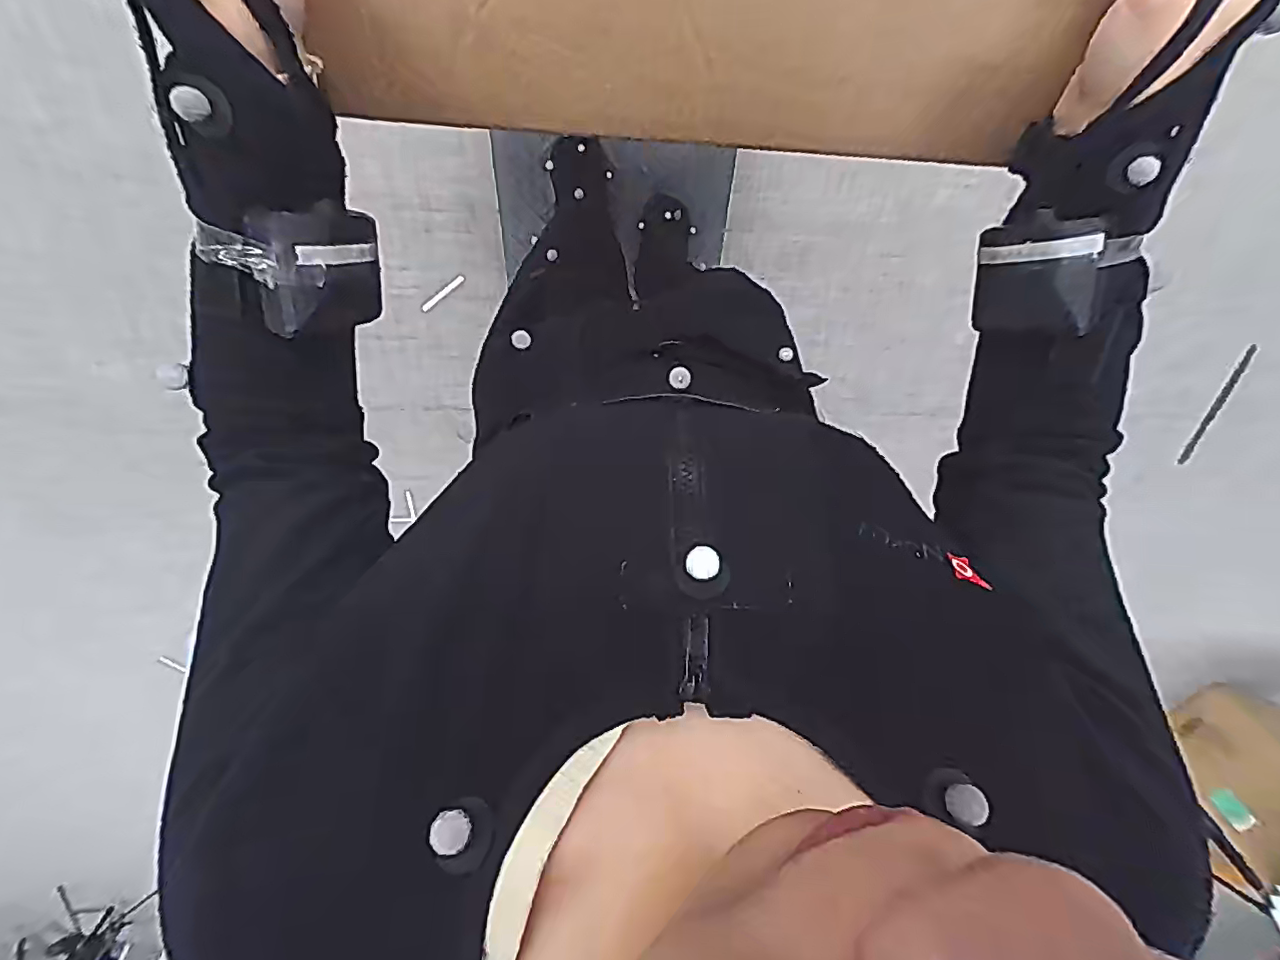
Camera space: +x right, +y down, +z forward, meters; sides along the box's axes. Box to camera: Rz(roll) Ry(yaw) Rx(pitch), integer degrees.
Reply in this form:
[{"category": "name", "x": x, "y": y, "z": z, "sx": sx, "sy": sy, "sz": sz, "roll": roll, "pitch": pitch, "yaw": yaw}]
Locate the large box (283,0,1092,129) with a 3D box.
[{"category": "large box", "x": 0.027, "y": -0.415, "z": 0.261, "sx": 0.408, "sy": 0.320, "sz": 0.320, "roll": 1, "pitch": 147, "yaw": -4}]
